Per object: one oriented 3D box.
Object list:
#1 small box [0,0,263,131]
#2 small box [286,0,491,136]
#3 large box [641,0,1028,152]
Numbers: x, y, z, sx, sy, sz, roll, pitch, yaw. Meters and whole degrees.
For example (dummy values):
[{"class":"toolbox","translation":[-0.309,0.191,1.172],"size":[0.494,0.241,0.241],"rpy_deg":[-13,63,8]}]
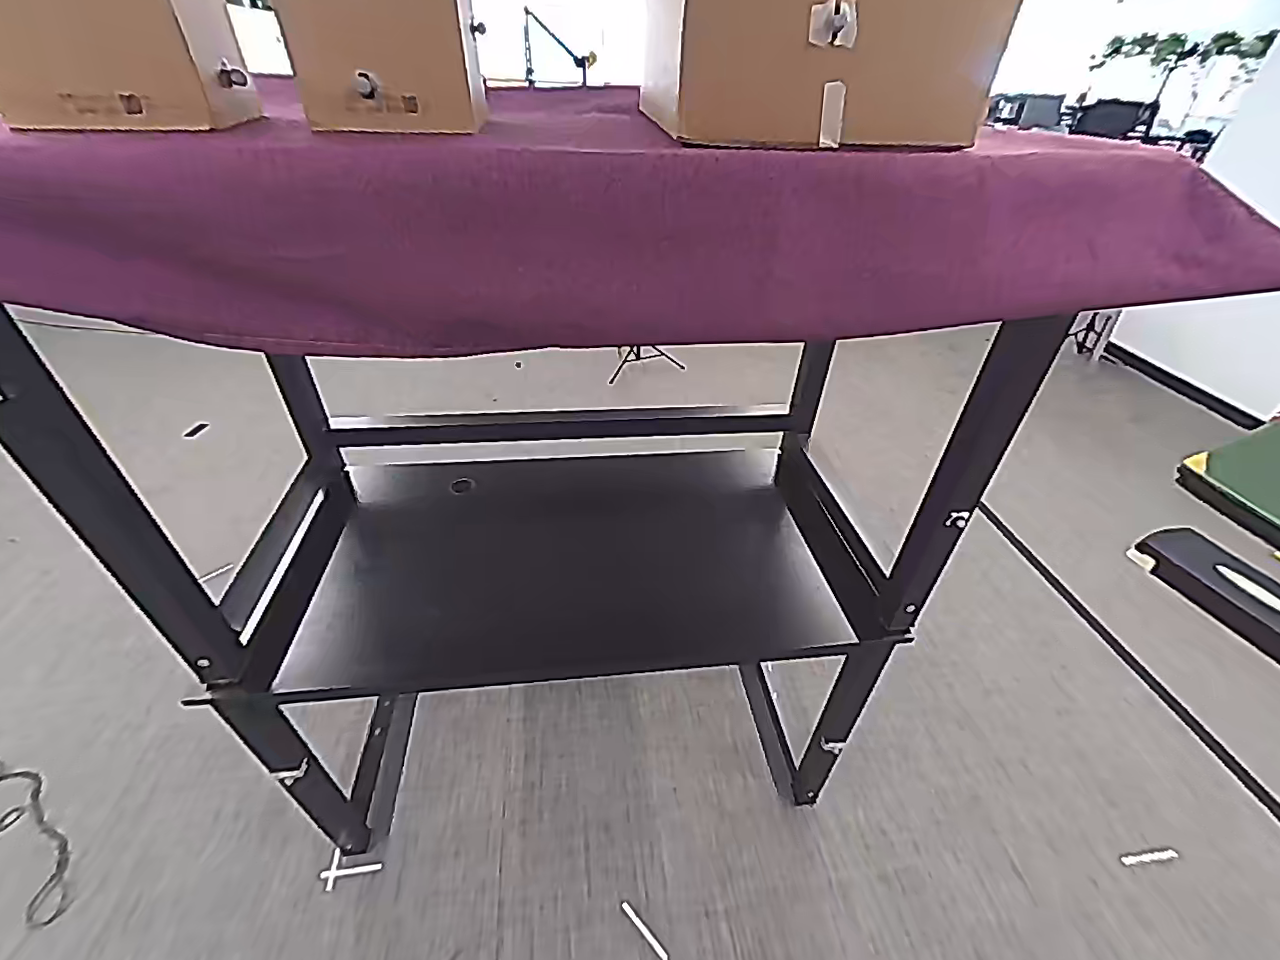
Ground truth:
[{"class":"small box","translation":[-0.494,-0.441,0.514],"size":[0.168,0.176,0.179],"rpy_deg":[-8,38,-13]},{"class":"small box","translation":[-0.257,-0.475,0.572],"size":[0.168,0.176,0.179],"rpy_deg":[-4,38,-7]},{"class":"large box","translation":[0.175,-0.562,0.597],"size":[0.320,0.320,0.408],"rpy_deg":[-1,37,-6]}]
